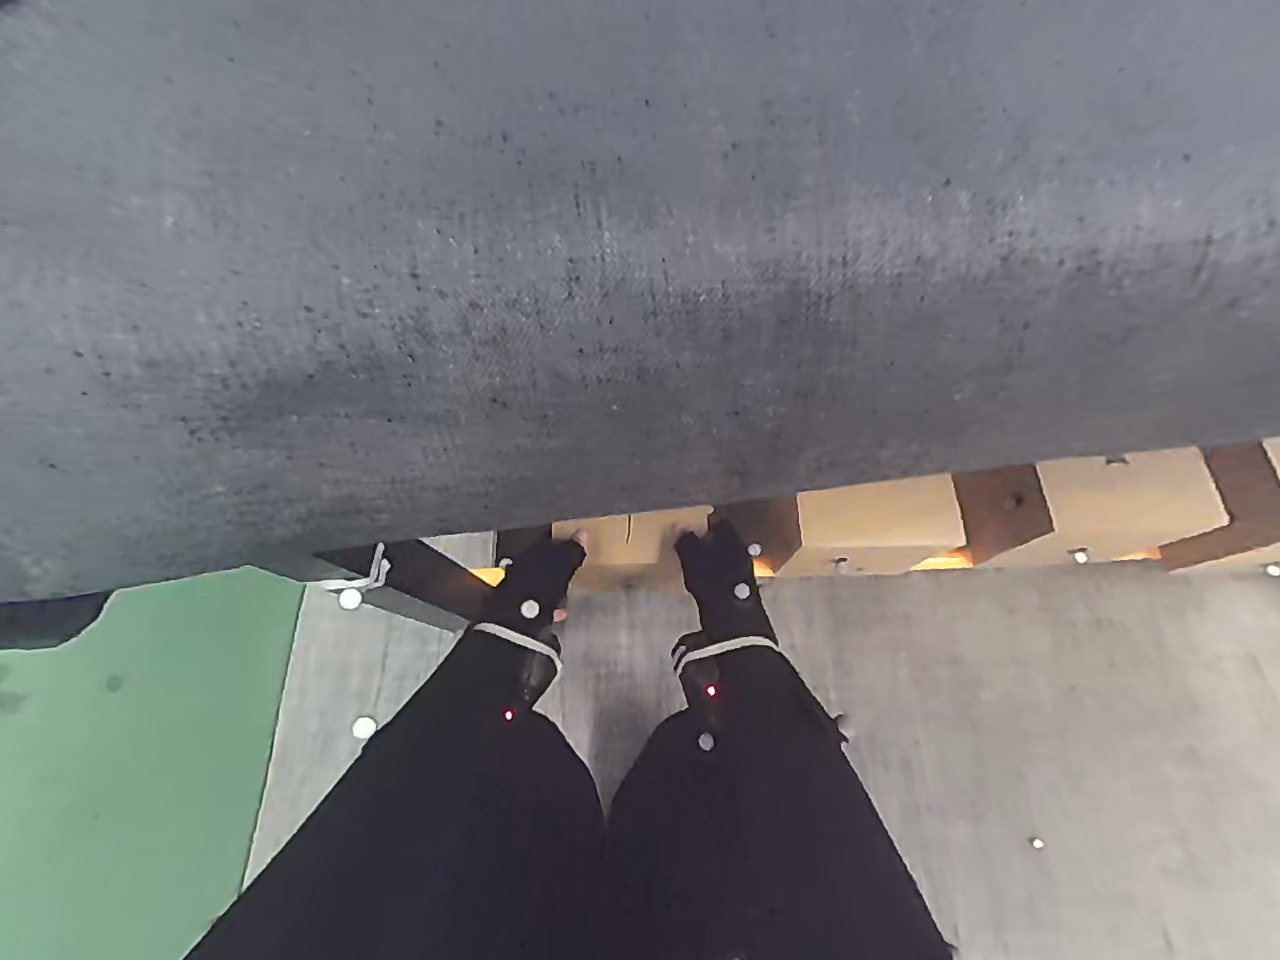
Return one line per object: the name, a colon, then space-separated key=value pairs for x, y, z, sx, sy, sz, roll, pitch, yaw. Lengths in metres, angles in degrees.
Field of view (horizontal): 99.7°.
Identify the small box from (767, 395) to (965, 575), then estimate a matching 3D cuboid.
small box: x=0.252 y=0.017 z=0.652 sx=0.168 sy=0.176 sz=0.179 roll=-2 pitch=68 yaw=3
